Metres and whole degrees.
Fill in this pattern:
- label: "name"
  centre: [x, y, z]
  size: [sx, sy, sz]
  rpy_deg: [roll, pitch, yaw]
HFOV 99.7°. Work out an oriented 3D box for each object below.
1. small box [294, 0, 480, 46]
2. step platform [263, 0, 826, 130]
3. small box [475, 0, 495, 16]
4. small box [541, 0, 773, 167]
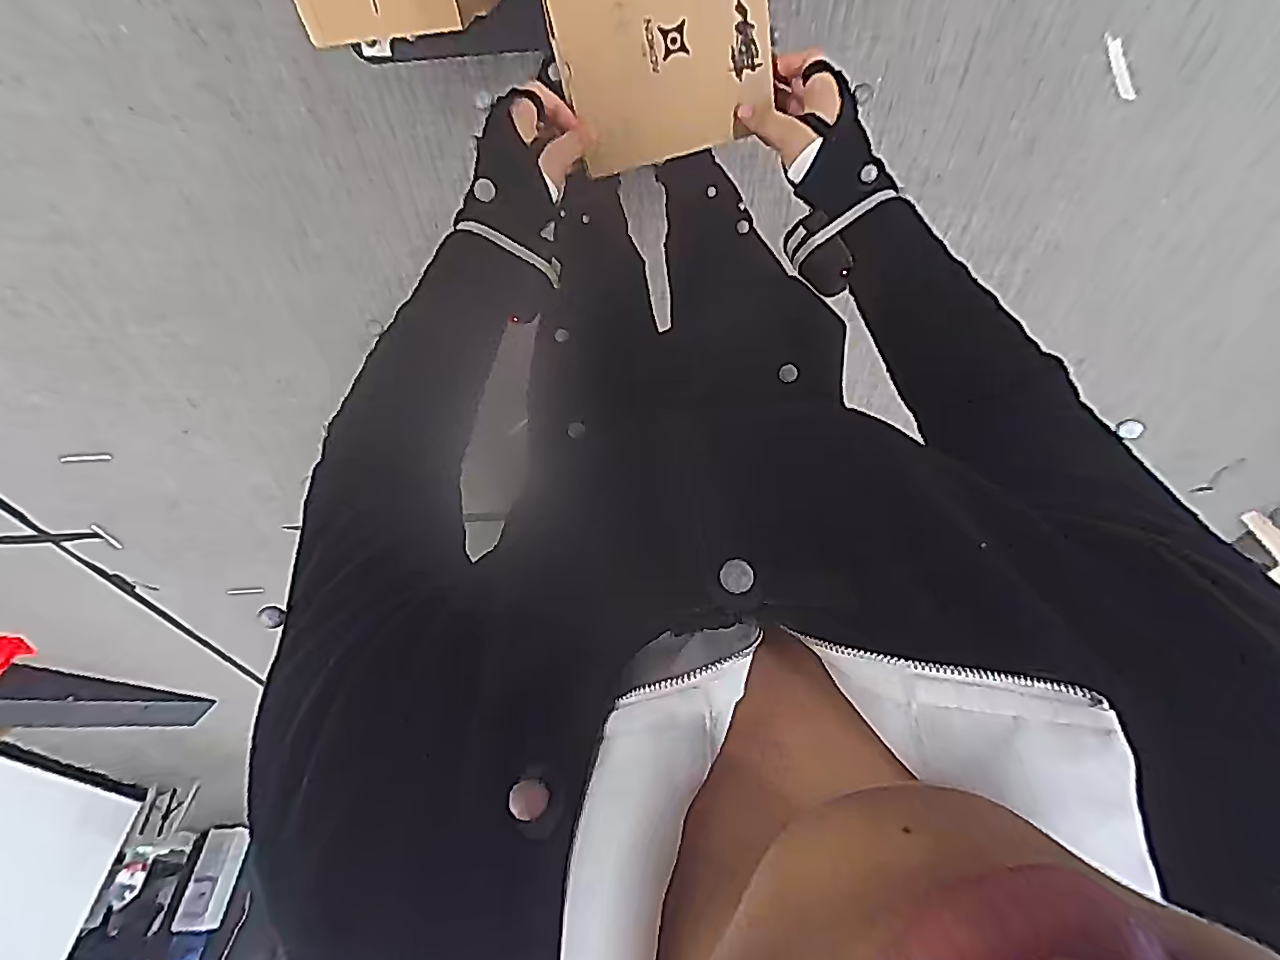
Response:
- label: "small box"
  centre: [-0.279, -0.586, 0.565]
  size: [0.168, 0.176, 0.179]
  rpy_deg: [-6, 138, 1]
- label: "step platform"
  centre: [-0.118, -0.659, 0.692]
  size: [0.684, 0.204, 0.286]
  rpy_deg: [-5, 137, 0]
- label: "small box"
  centre: [-0.286, -0.704, 0.679]
  size: [0.168, 0.176, 0.179]
  rpy_deg: [-4, 138, 0]
- label: "small box"
  centre: [0.013, -0.409, 0.497]
  size: [0.179, 0.176, 0.168]
  rpy_deg: [-11, 128, 5]
